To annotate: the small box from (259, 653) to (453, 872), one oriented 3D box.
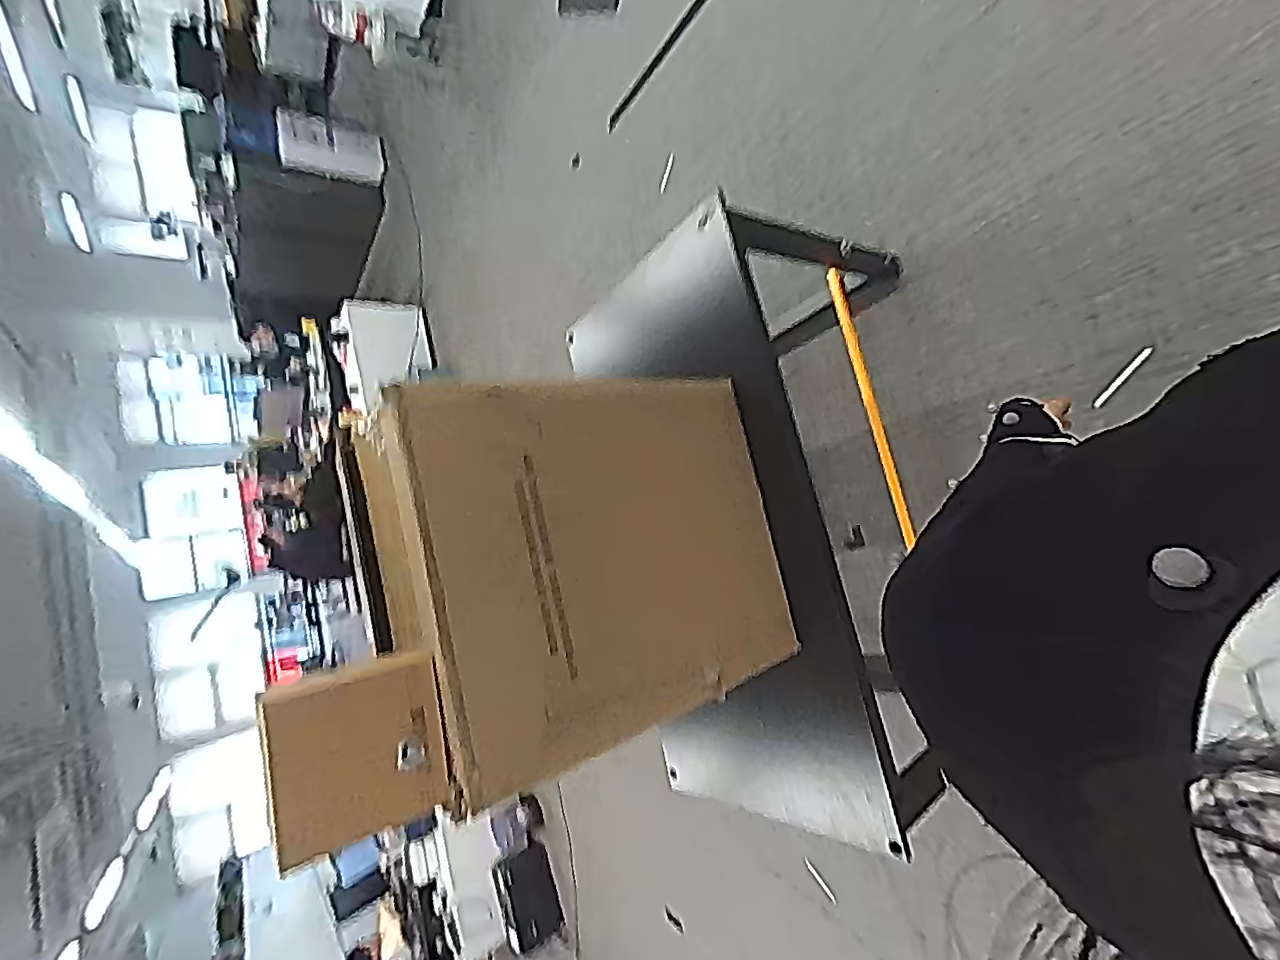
[{"bbox_3d":[-0.337,0.310,0.638,0.179,0.176,0.168,-23,77,49],"label":"small box"}]
